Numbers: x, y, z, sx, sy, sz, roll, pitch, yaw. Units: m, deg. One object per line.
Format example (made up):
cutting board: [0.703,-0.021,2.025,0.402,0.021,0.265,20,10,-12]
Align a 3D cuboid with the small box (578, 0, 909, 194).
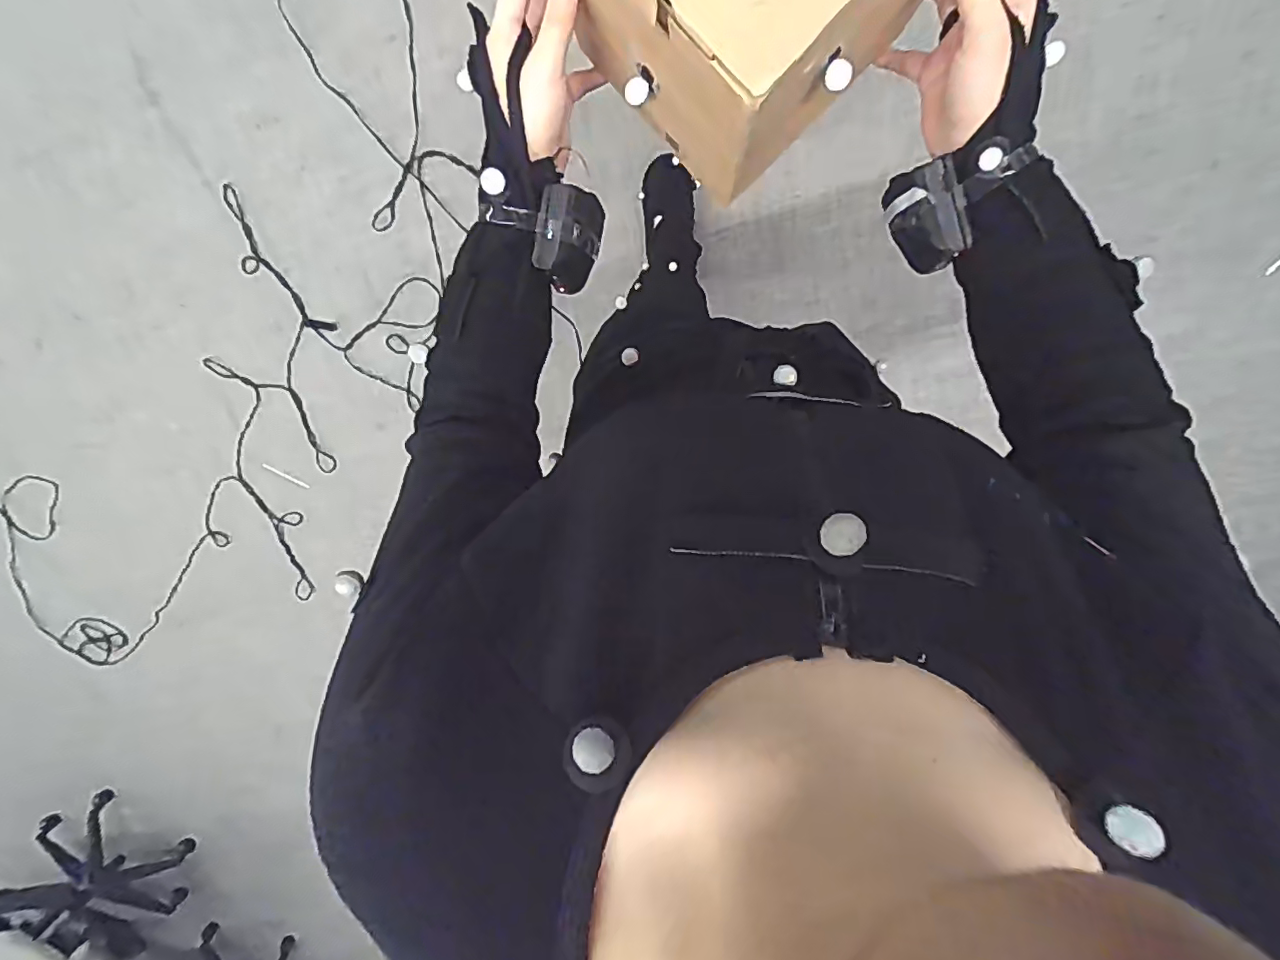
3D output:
small box: [0.067,-0.317,0.329,0.179,0.176,0.168,-43,95,11]
